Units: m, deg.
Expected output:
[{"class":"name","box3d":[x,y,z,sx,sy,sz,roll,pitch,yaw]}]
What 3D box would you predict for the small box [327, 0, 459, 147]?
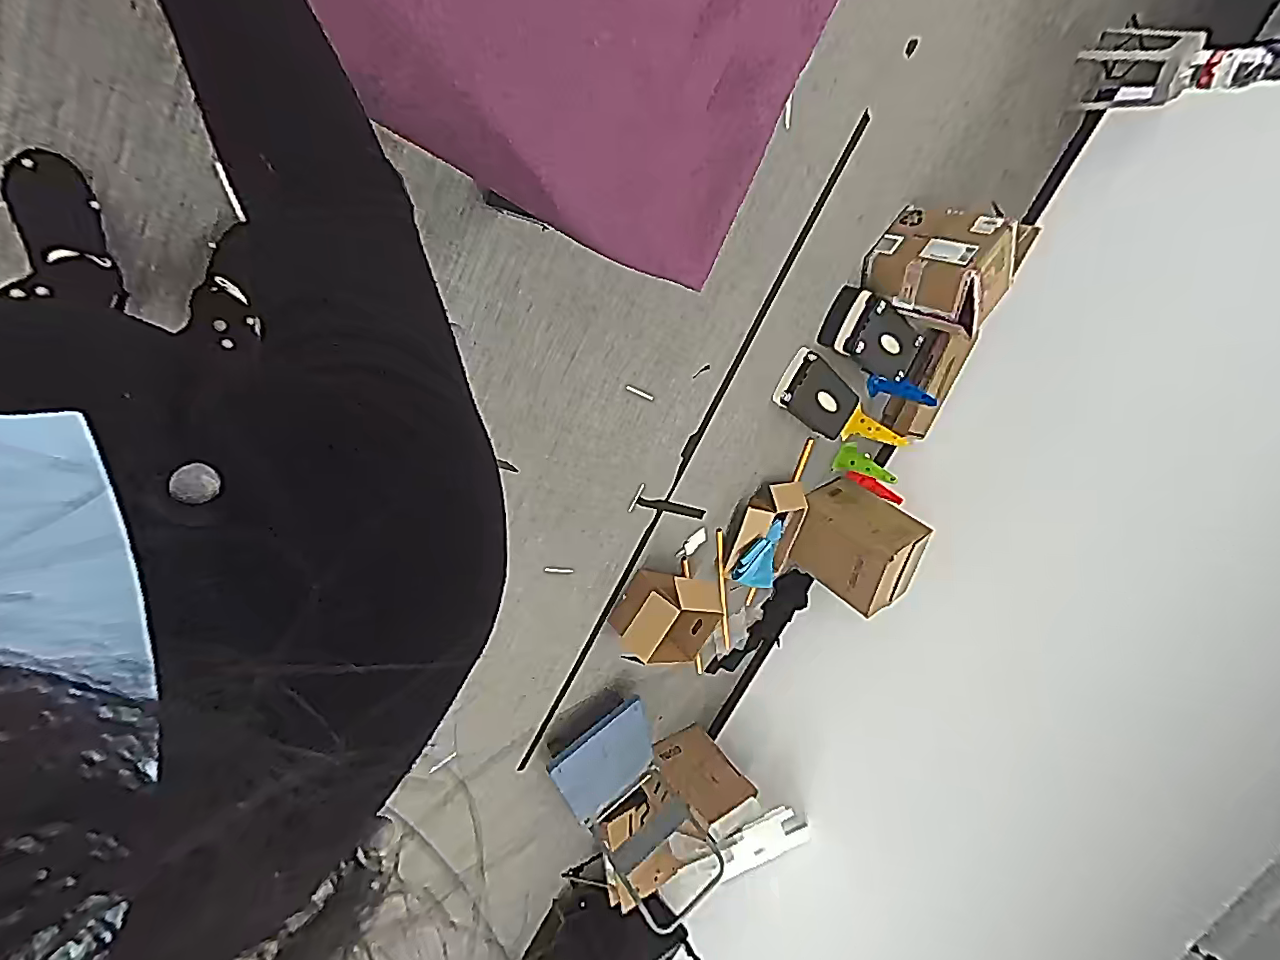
[{"class":"small box","box3d":[-0.498,-0.804,1.080,0.168,0.176,0.179,19,103,-49]}]
